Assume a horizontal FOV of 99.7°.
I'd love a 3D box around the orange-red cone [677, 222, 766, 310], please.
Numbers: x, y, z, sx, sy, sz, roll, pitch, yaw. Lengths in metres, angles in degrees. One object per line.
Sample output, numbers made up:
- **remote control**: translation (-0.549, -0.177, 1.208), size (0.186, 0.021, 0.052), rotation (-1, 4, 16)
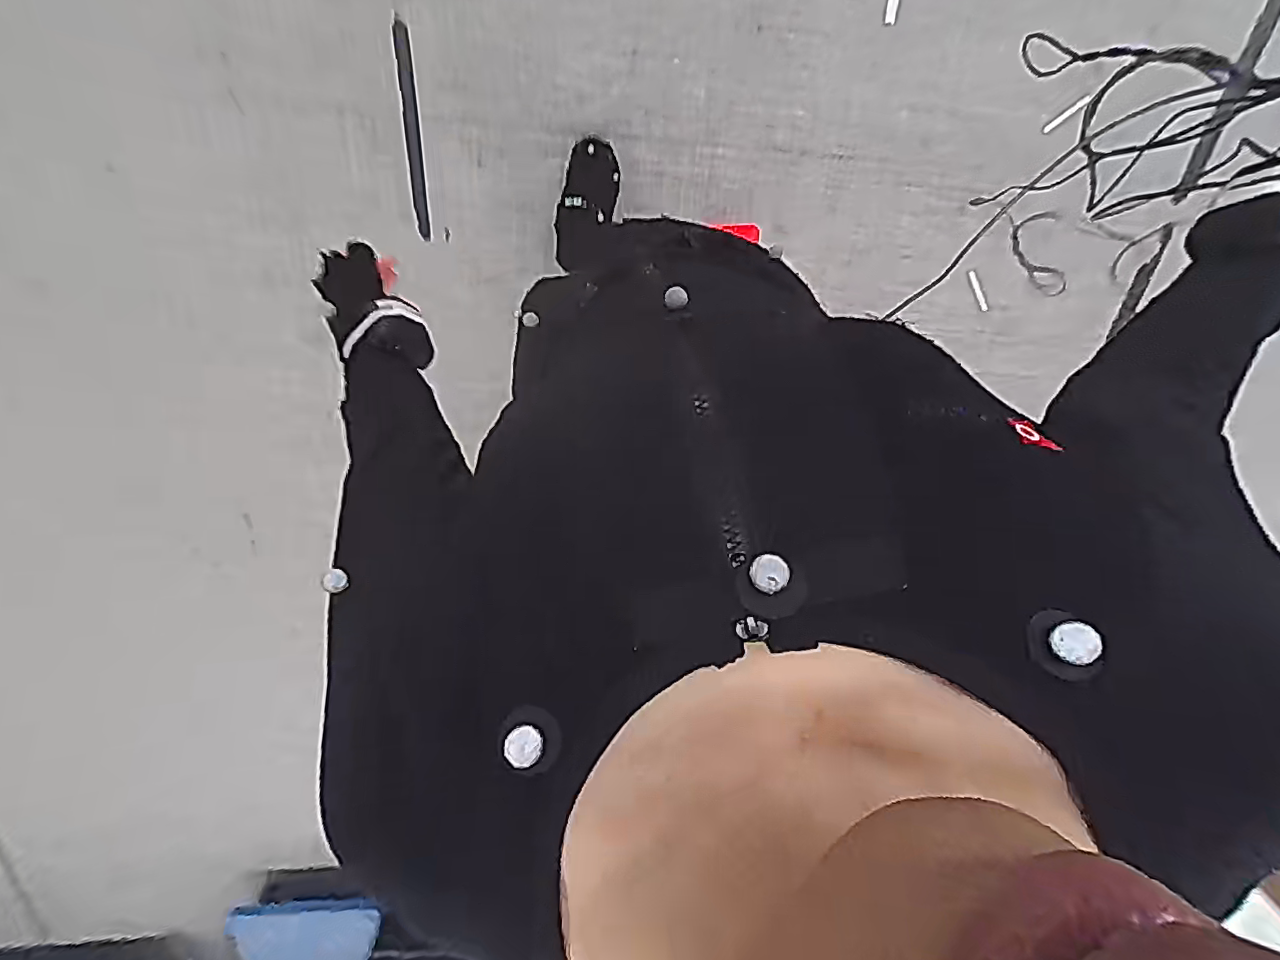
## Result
- **orange-red cone**: translation (0.202, -0.431, 1.153), size (0.198, 0.360, 0.199), rotation (-2, 119, -4)
